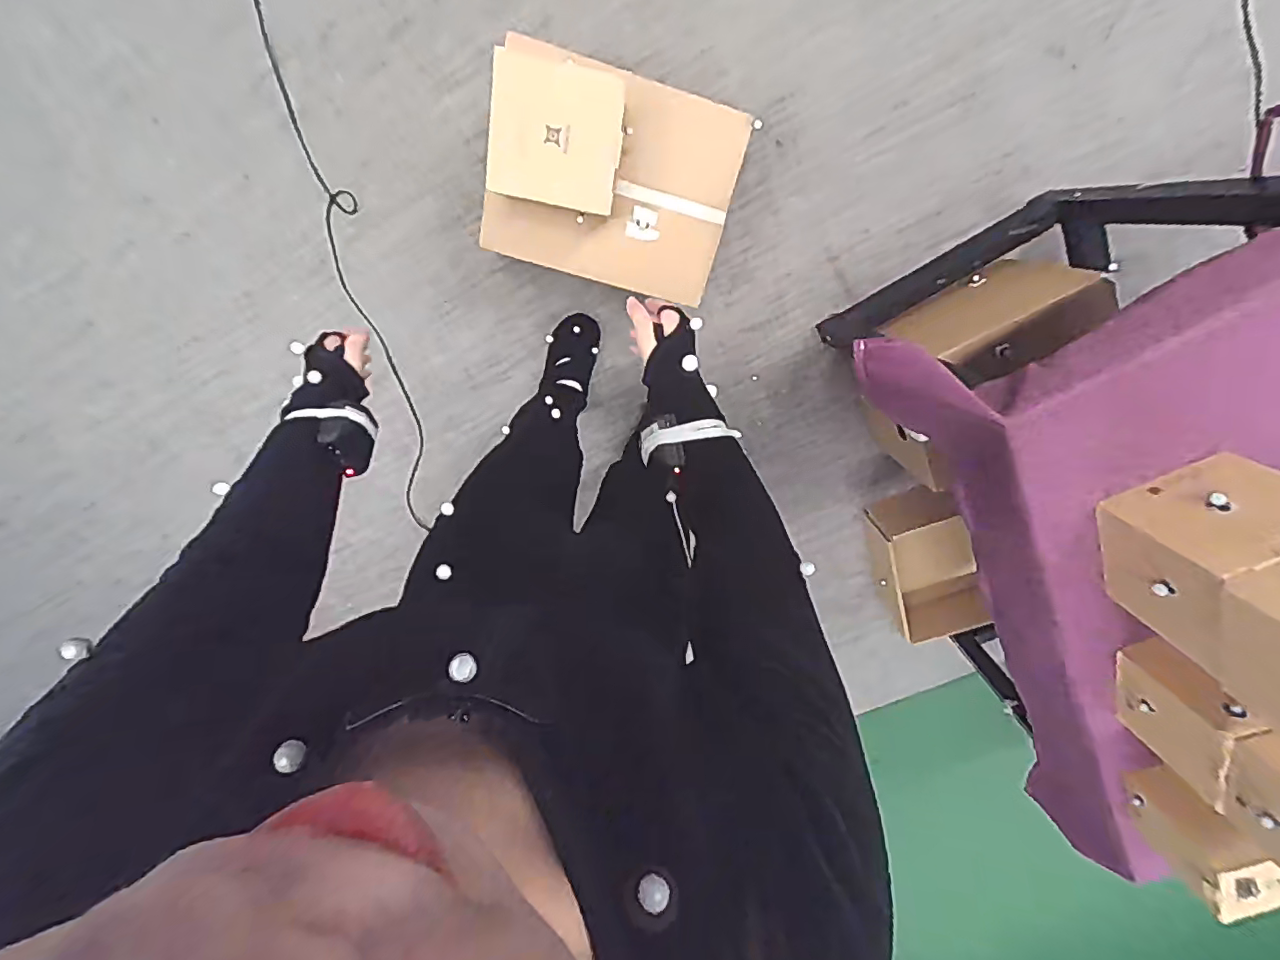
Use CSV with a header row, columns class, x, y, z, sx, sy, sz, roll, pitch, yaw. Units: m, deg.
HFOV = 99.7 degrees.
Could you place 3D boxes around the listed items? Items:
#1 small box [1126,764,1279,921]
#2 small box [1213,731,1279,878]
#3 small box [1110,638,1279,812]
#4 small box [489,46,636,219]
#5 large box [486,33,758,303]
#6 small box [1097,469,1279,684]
class,x,y,z,sx,sy,sz,roll,pitch,yaw
small box,0.982,0.598,0.925,0.179,0.176,0.168,-25,115,8
small box,0.863,0.410,0.644,0.179,0.176,0.168,-19,115,7
small box,0.848,0.339,0.791,0.179,0.176,0.168,-20,116,8
small box,-0.110,-0.490,0.788,0.179,0.176,0.168,10,114,-8
large box,-0.048,-0.562,1.031,0.408,0.320,0.320,12,116,-10
small box,0.711,0.106,0.665,0.168,0.176,0.179,-24,115,10
